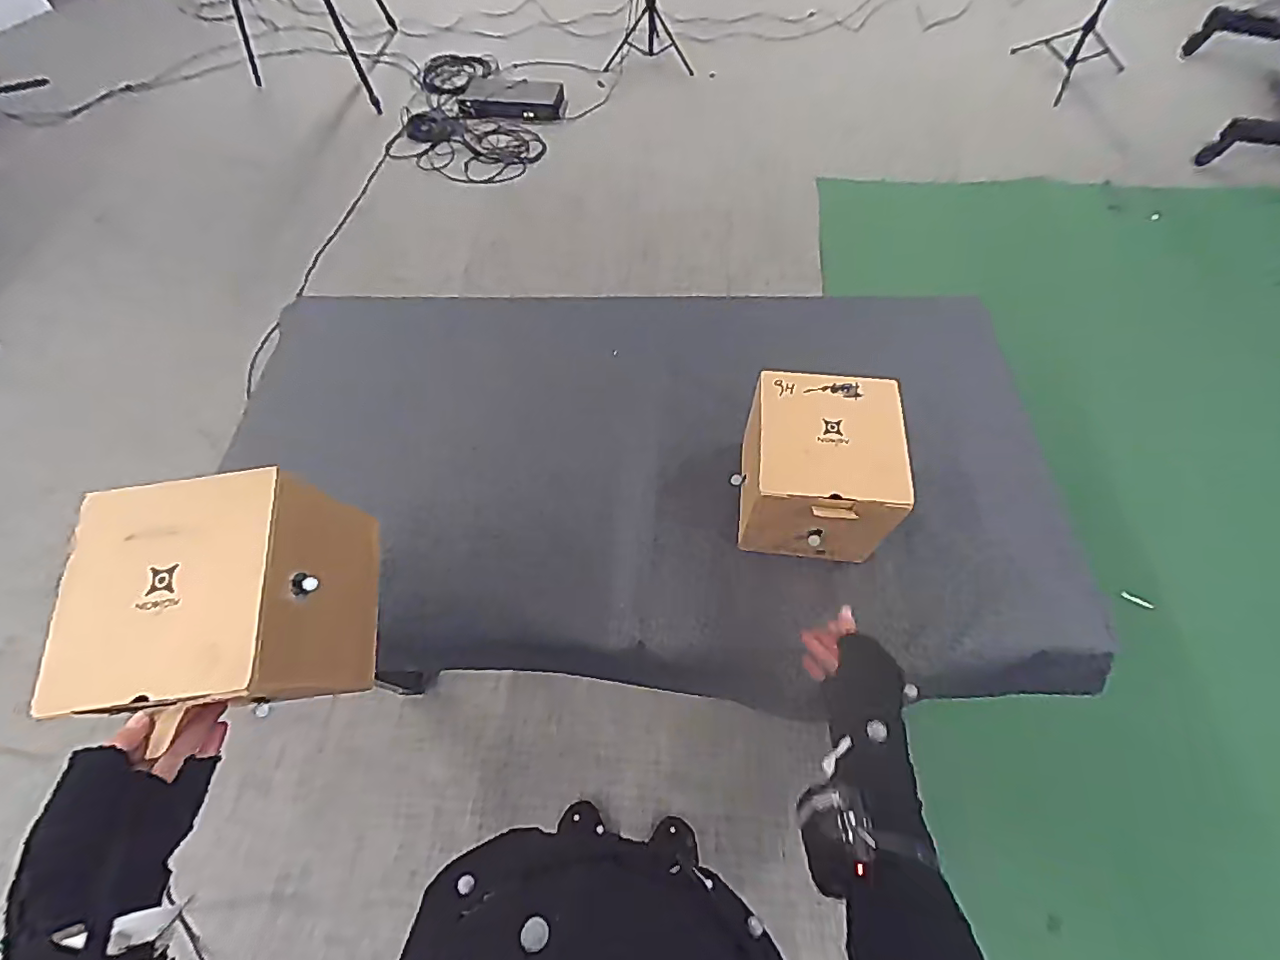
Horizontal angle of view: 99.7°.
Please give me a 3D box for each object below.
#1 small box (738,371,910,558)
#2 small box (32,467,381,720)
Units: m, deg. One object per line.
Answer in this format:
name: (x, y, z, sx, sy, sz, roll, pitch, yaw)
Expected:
small box: (0.221, -0.013, 0.689, 0.168, 0.176, 0.179, 6, 62, 4)
small box: (-0.355, 0.107, 0.485, 0.168, 0.176, 0.179, -8, 69, 1)
